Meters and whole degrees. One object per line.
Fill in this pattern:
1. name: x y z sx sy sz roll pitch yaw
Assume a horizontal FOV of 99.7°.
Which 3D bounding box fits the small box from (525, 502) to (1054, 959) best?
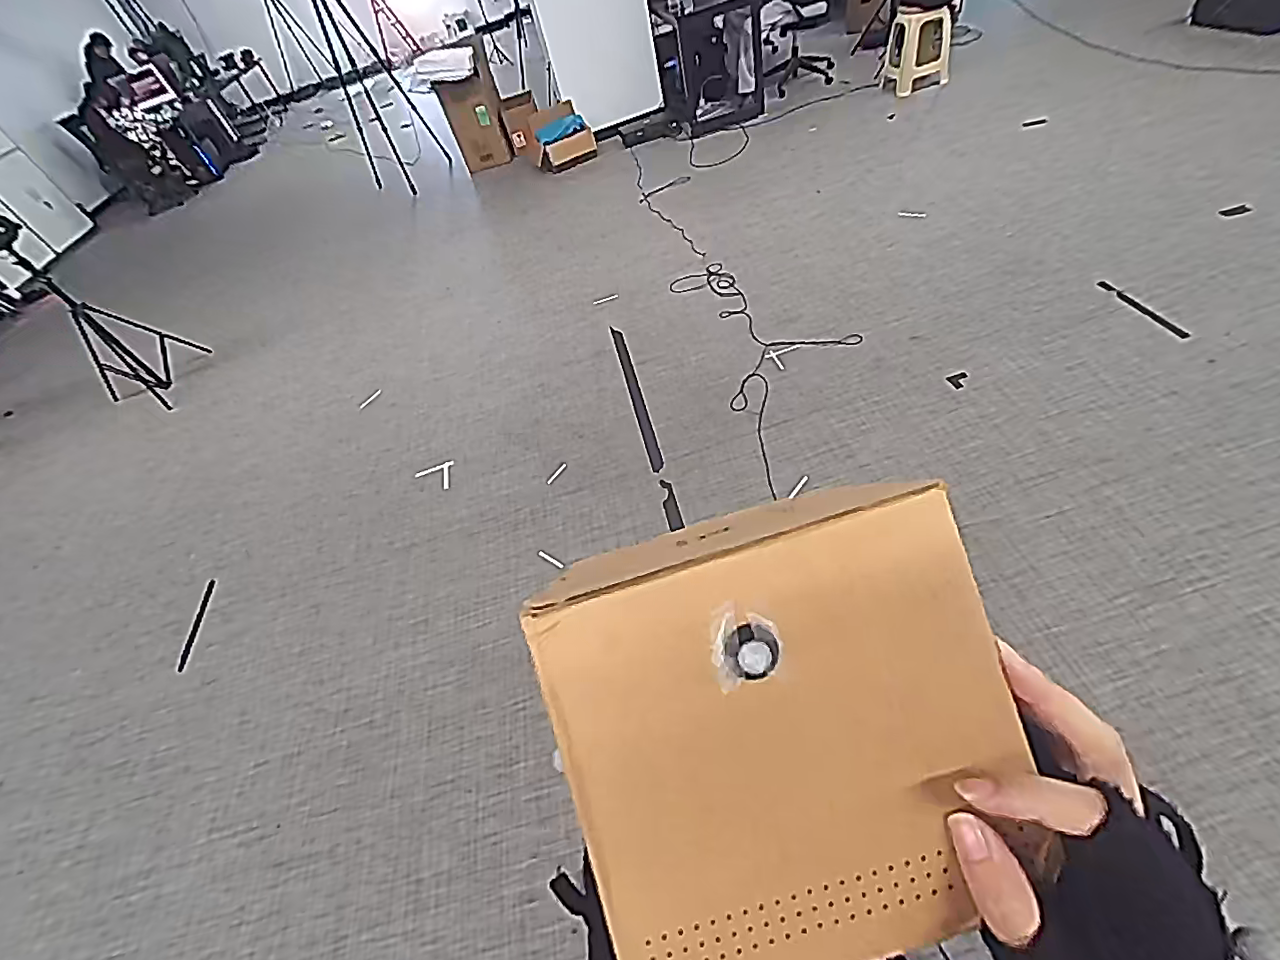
1. small box: 0.062 0.117 0.288 0.179 0.168 0.176 -17 87 1
